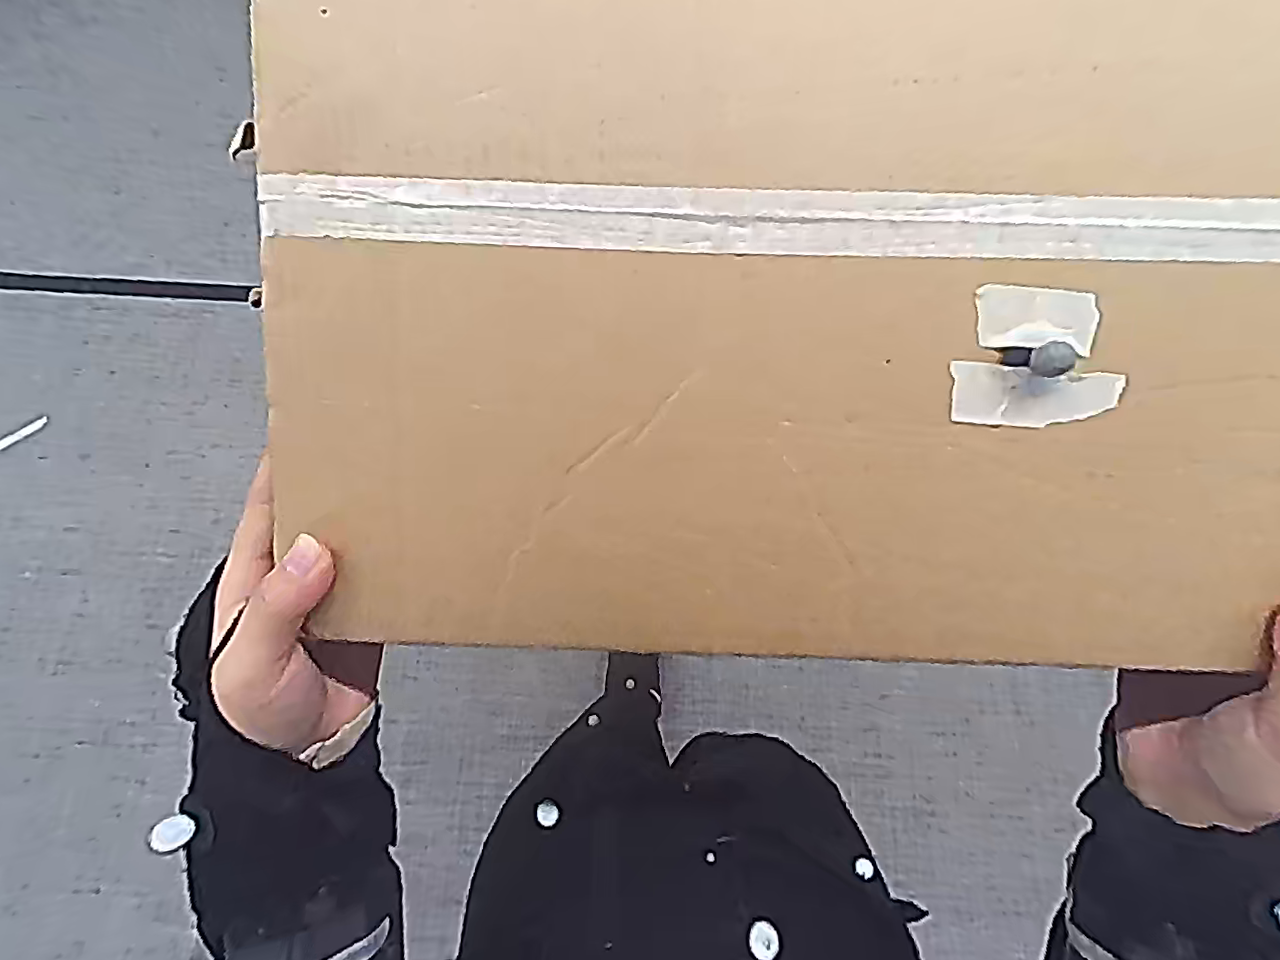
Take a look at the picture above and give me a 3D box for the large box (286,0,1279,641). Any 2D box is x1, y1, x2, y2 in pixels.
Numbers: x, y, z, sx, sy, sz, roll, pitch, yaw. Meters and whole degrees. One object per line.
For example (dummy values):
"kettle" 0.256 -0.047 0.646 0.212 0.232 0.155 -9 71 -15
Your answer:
"large box" 0.067 -0.101 0.350 0.408 0.320 0.320 1 95 -1
